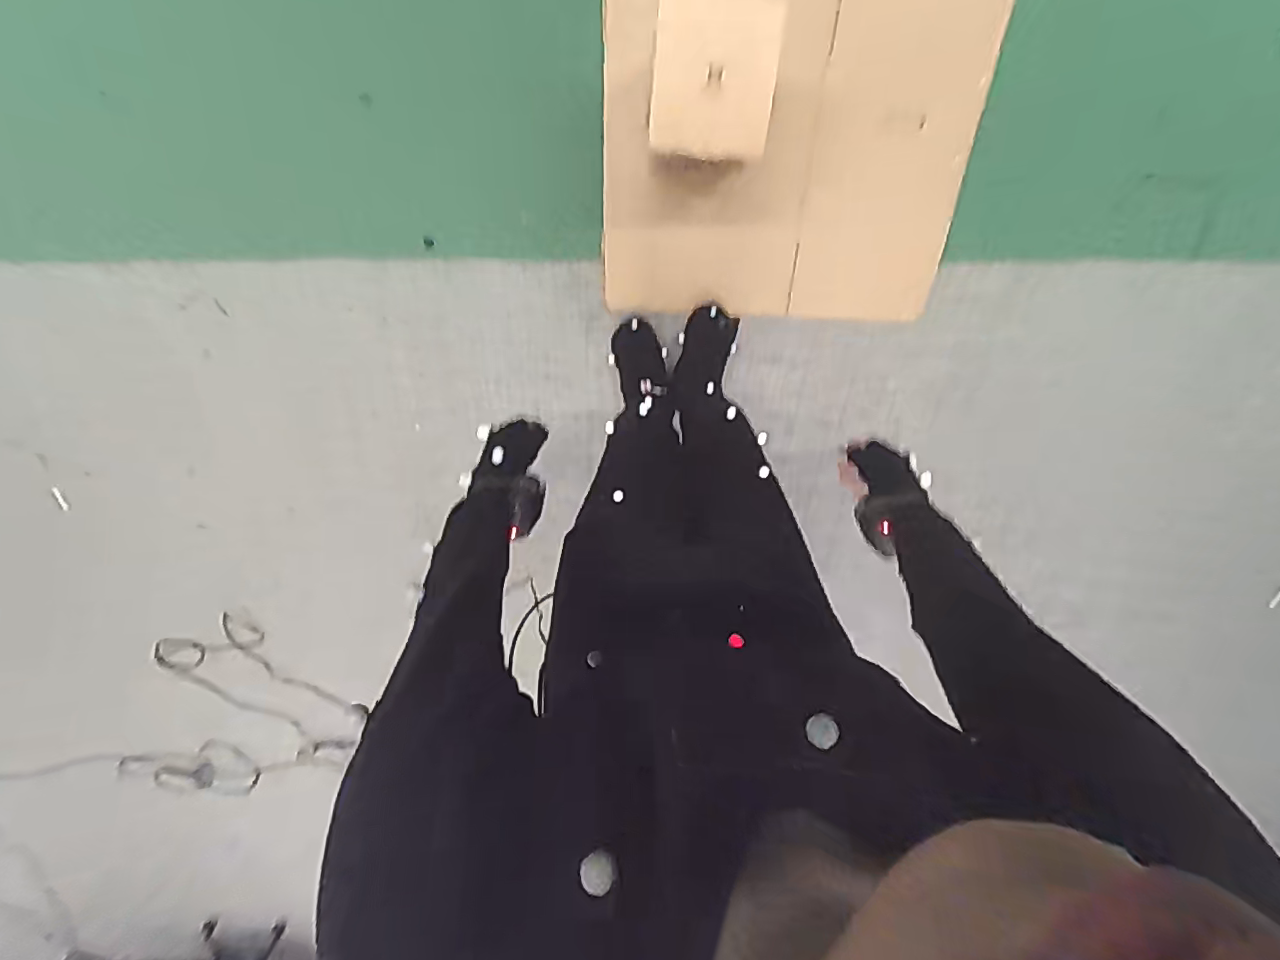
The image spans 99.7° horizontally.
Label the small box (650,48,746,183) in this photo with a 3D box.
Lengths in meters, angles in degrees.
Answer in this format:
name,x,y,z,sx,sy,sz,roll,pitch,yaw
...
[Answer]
name,x,y,z,sx,sy,sz,roll,pitch,yaw
small box,0.109,-0.626,0.948,0.168,0.176,0.179,4,117,1
